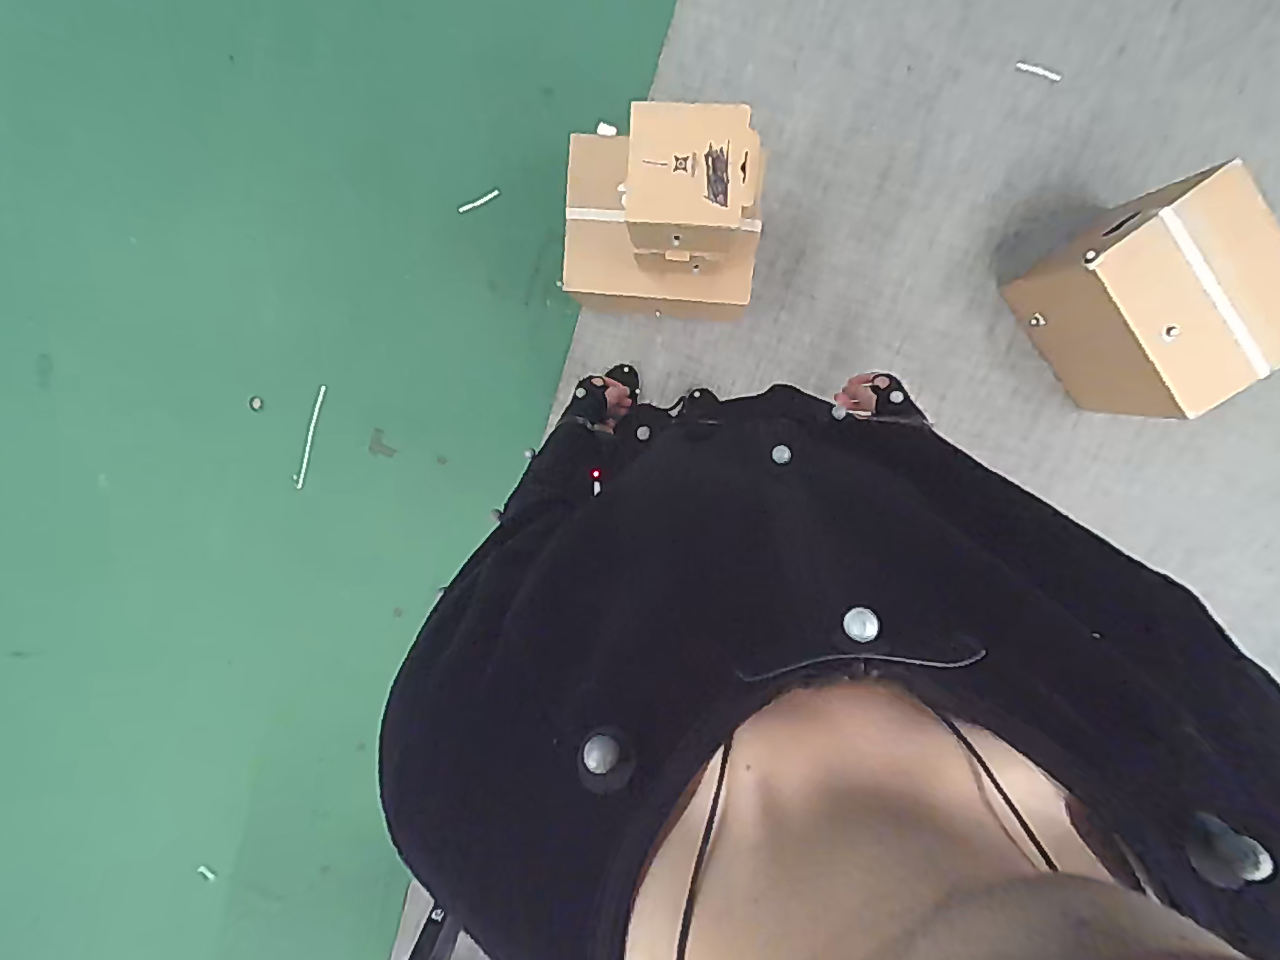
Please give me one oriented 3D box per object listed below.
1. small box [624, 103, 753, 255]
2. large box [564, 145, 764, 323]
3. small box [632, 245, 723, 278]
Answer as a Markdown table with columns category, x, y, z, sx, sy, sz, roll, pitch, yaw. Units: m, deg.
| category | x | y | z | sx | sy | sz | roll | pitch | yaw |
| --- | --- | --- | --- | --- | --- | --- | --- | --- | --- |
| small box | 0.073 | -0.467 | 0.864 | 0.179 | 0.176 | 0.168 | 5 | 100 | 4 |
| large box | 0.059 | -0.549 | 1.267 | 0.408 | 0.320 | 0.320 | 5 | 99 | 5 |
| small box | 0.081 | -0.492 | 1.026 | 0.168 | 0.176 | 0.179 | 6 | 100 | 3 |
